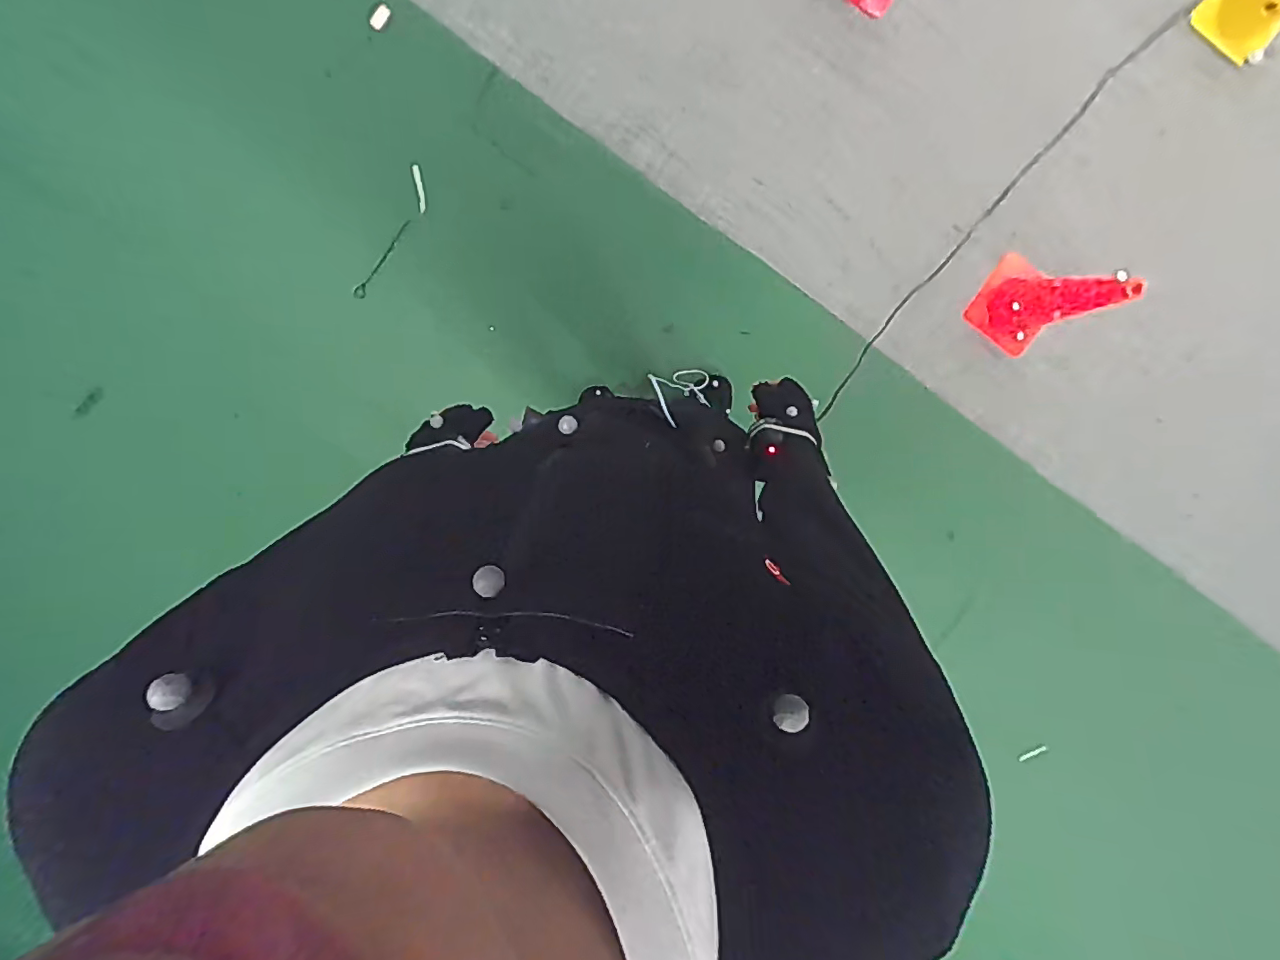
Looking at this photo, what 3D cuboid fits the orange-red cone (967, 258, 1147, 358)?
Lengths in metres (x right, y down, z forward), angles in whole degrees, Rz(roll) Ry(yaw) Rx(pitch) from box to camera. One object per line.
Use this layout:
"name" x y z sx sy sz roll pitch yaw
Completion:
"orange-red cone" 0.980 -0.412 1.240 0.198 0.360 0.199 34 98 -8

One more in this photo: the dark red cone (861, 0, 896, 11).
"dark red cone" 0.528 -1.160 1.056 0.202 0.394 0.201 28 101 -6
